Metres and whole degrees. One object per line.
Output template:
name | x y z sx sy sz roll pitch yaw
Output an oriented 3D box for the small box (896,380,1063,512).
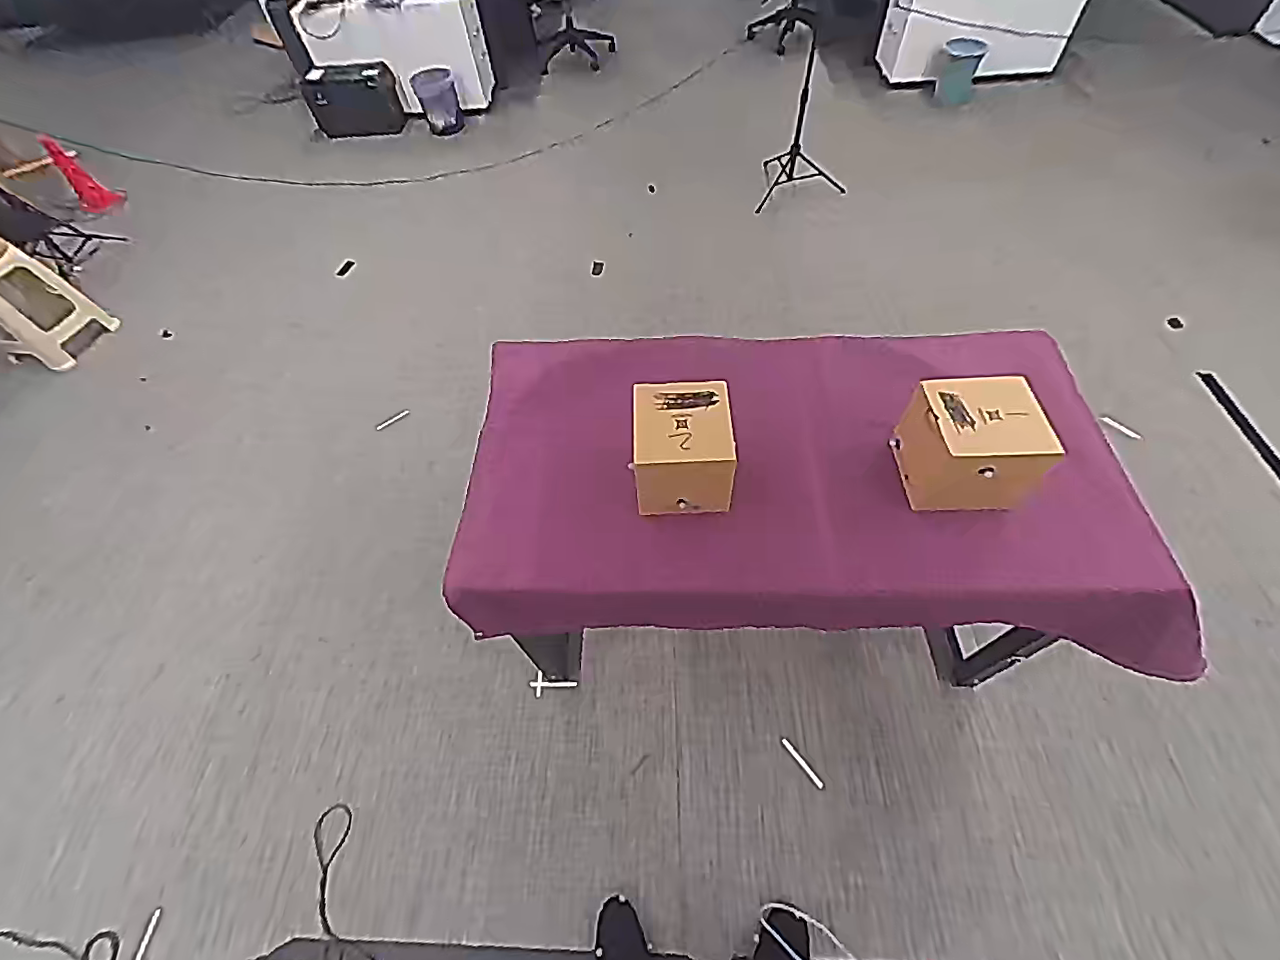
small box | 0.568 -0.055 0.941 0.179 0.176 0.168 -1 56 3
